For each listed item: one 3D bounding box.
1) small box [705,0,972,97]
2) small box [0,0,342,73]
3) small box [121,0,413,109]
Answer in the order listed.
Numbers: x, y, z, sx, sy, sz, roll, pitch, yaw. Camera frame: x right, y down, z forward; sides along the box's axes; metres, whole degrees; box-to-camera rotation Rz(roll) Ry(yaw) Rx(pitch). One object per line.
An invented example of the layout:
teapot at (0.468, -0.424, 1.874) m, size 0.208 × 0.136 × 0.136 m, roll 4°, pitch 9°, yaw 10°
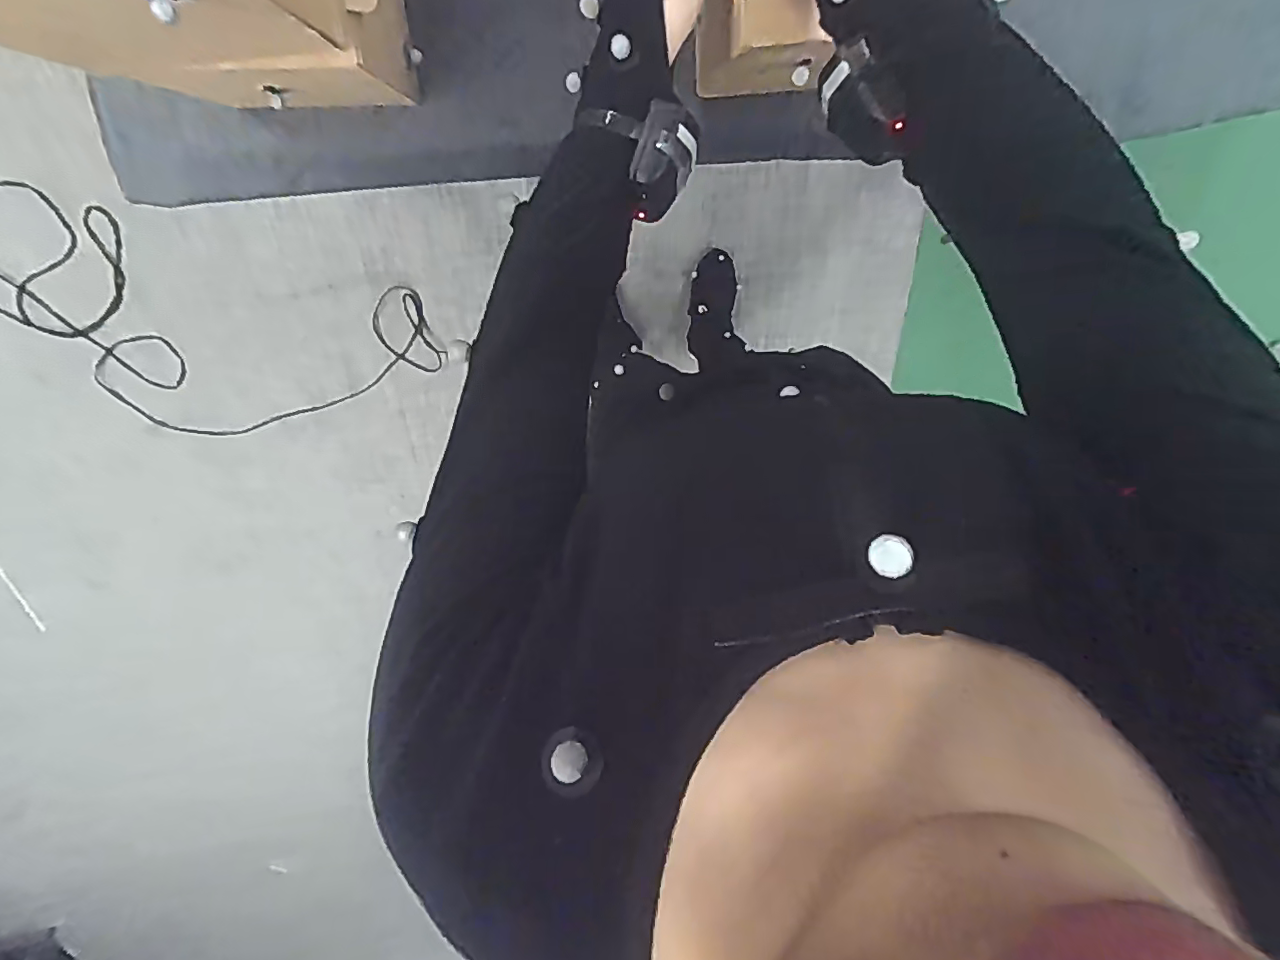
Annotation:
small box at (0.149, -0.434, 0.443) m, size 0.179 × 0.176 × 0.168 m, roll -6°, pitch 116°, yaw -2°
small box at (-0.291, -0.326, 0.270) m, size 0.179 × 0.176 × 0.168 m, roll -8°, pitch 117°, yaw -2°
small box at (-0.291, -0.398, 0.417) m, size 0.179 × 0.176 × 0.168 m, roll -3°, pitch 117°, yaw -4°
